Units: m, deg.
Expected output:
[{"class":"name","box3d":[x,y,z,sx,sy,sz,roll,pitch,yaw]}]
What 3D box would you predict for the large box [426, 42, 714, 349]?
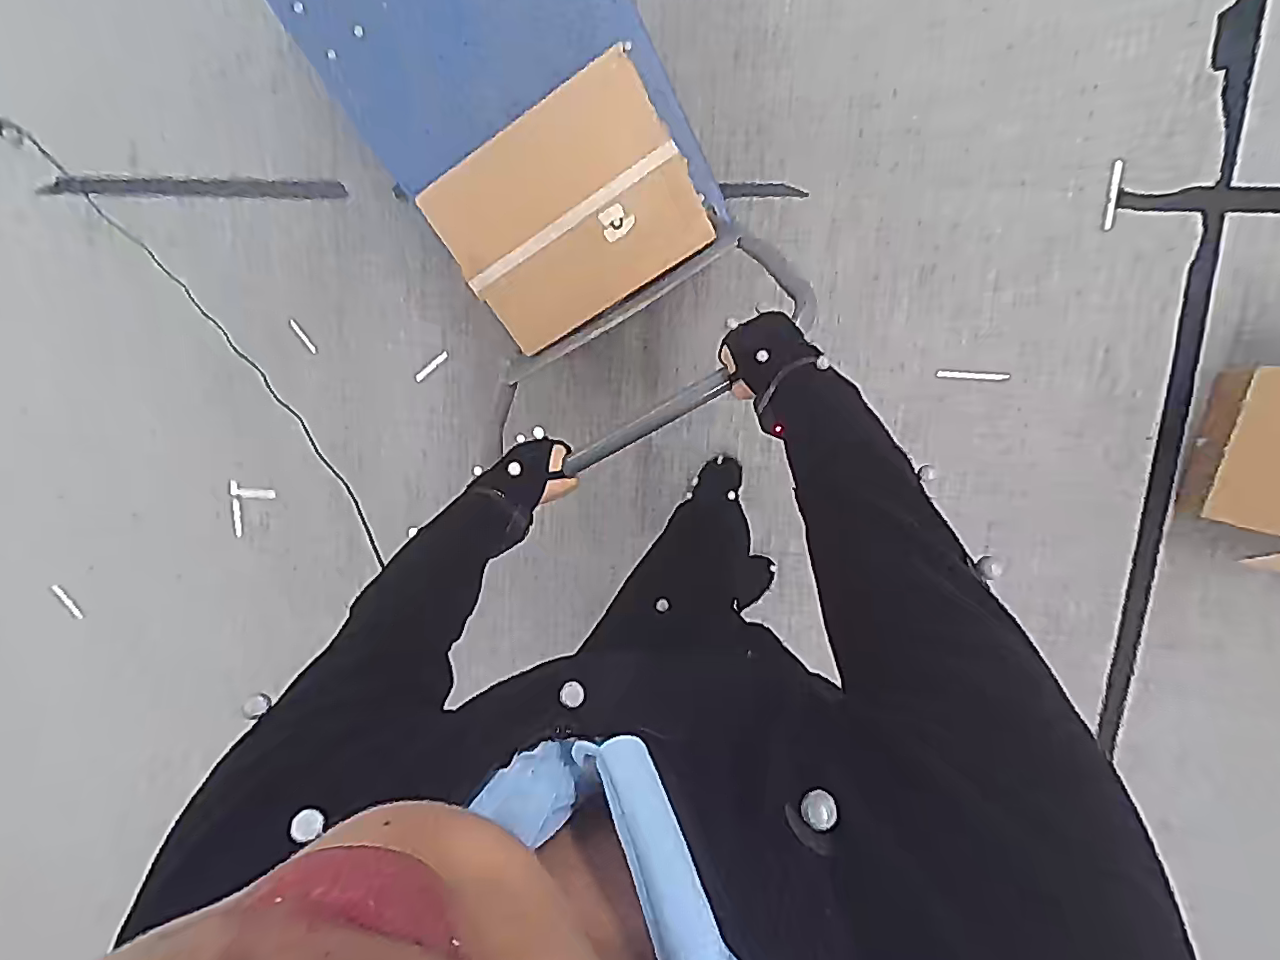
[{"class":"large box","box3d":[-0.121,-0.521,1.048,0.408,0.320,0.320,-29,117,12]}]
